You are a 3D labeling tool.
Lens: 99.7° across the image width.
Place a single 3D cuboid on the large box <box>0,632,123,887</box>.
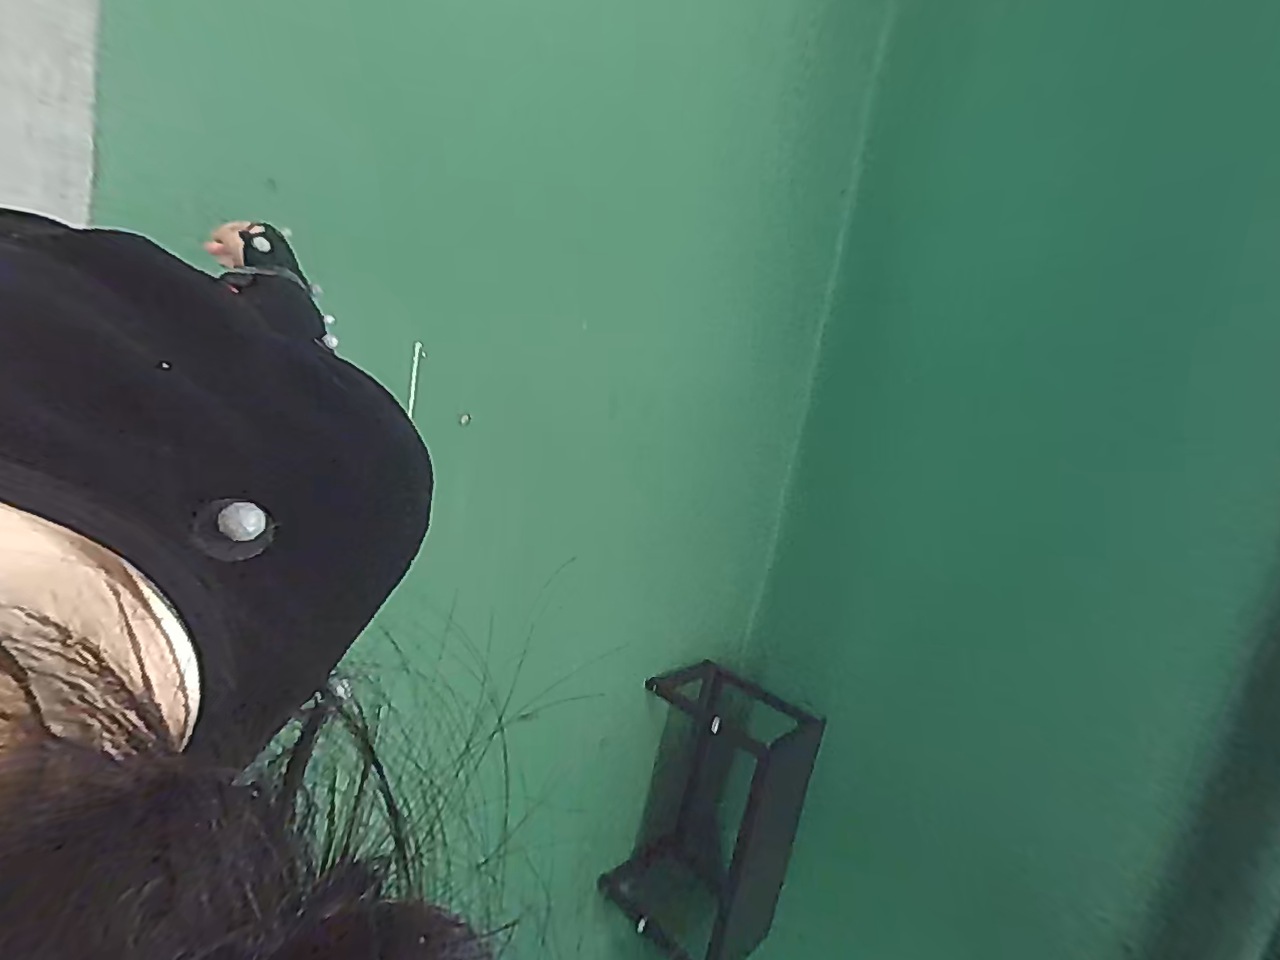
[{"bbox_3d":[-1.235,0.533,0.942,0.408,0.320,0.320,-19,118,-46],"label":"large box"}]
